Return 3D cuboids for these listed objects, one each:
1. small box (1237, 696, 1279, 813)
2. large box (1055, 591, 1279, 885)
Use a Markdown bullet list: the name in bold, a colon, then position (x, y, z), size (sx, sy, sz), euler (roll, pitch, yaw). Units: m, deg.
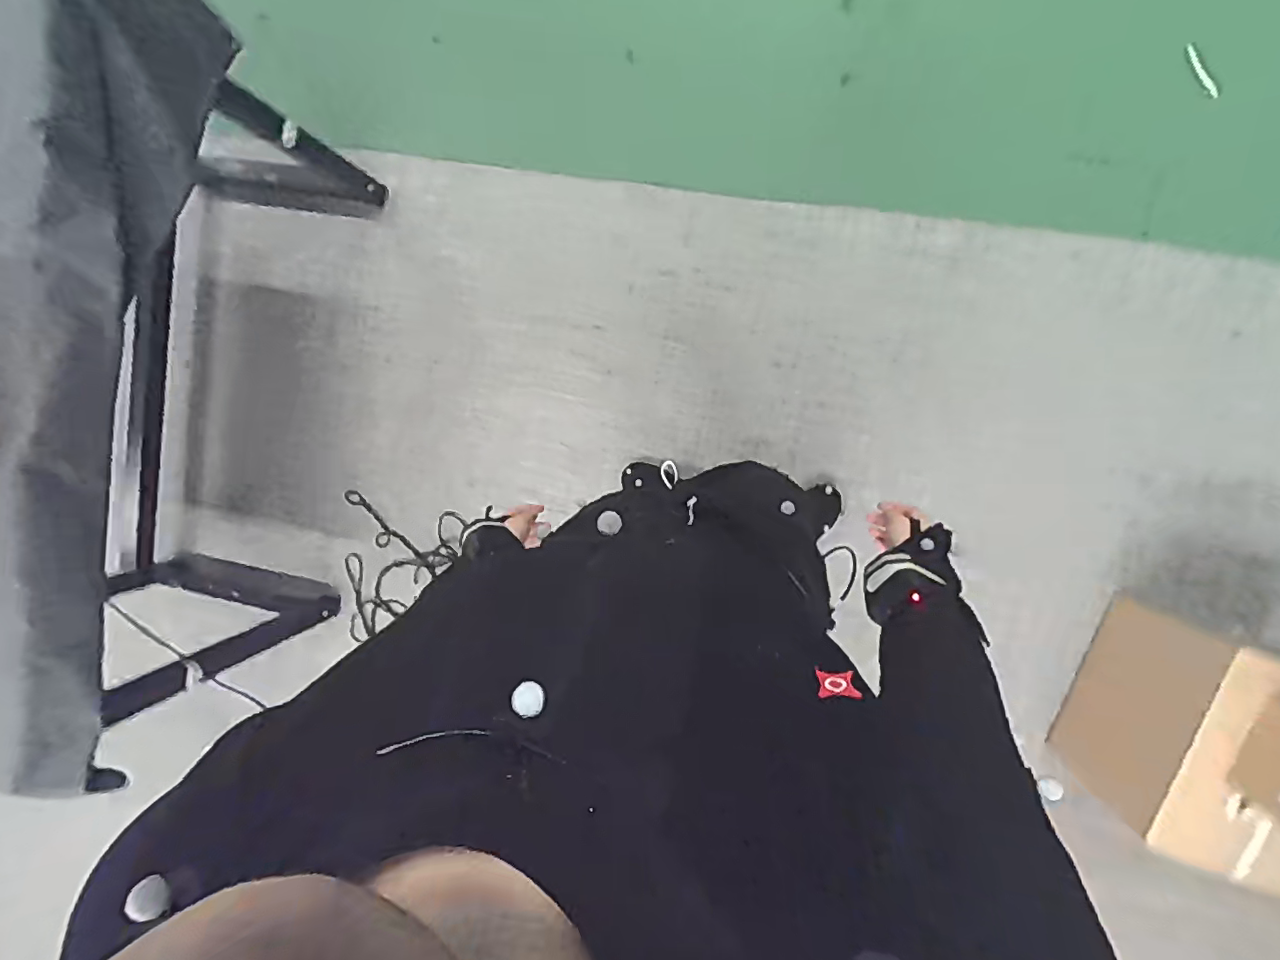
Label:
- **small box**: position (1.111, 0.473, 0.838), size (0.168, 0.176, 0.179), euler (18, 97, 5)
- **large box**: position (1.143, 0.490, 1.082), size (0.320, 0.320, 0.408), euler (17, 99, 8)
